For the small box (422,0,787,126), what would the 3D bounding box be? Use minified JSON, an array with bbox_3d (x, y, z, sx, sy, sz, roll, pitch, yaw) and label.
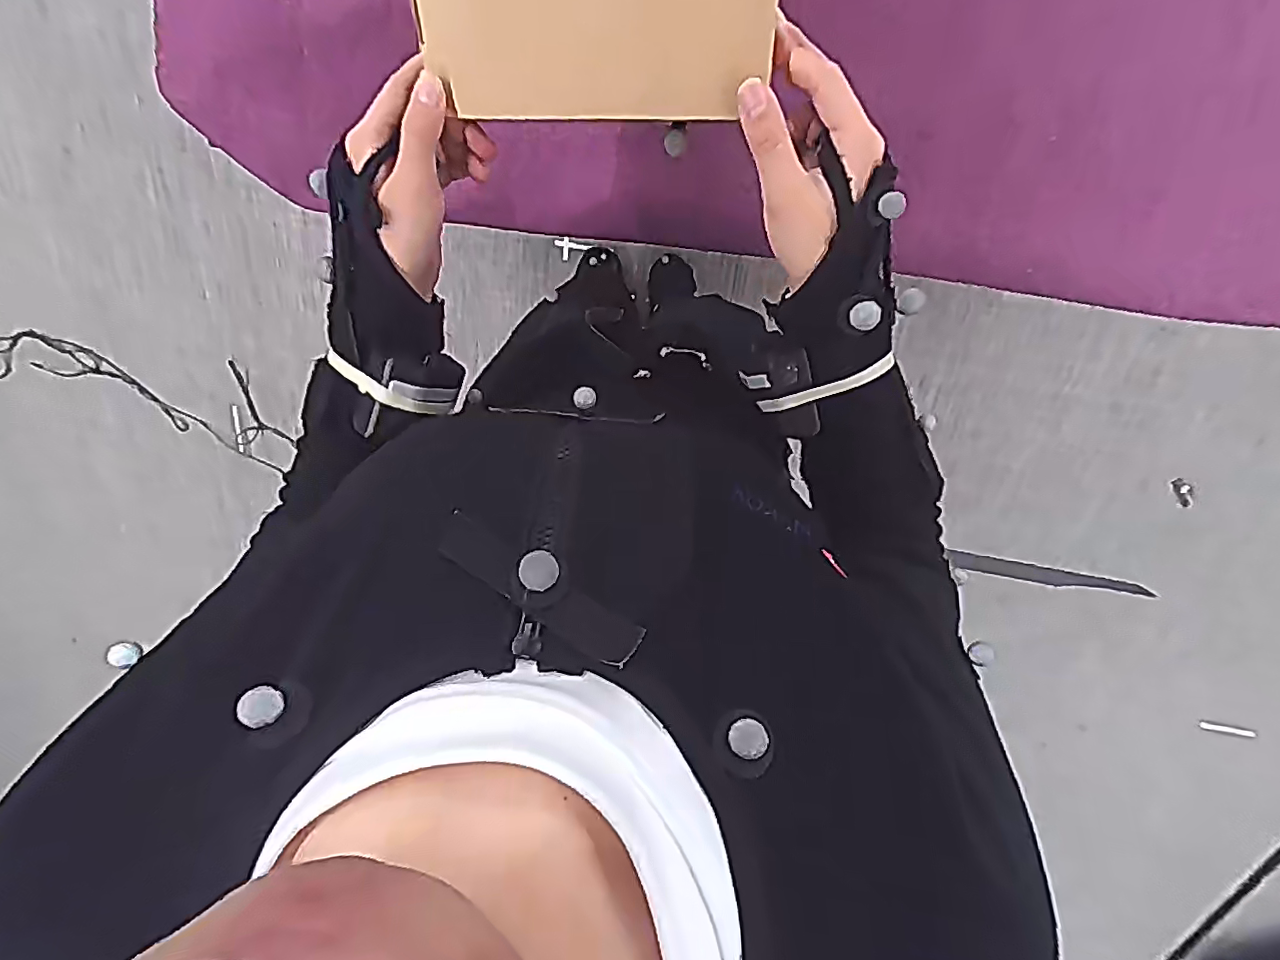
[{"bbox_3d":[-0.010,-0.299,0.301,0.179,0.176,0.168,5,123,6],"label":"small box"}]
